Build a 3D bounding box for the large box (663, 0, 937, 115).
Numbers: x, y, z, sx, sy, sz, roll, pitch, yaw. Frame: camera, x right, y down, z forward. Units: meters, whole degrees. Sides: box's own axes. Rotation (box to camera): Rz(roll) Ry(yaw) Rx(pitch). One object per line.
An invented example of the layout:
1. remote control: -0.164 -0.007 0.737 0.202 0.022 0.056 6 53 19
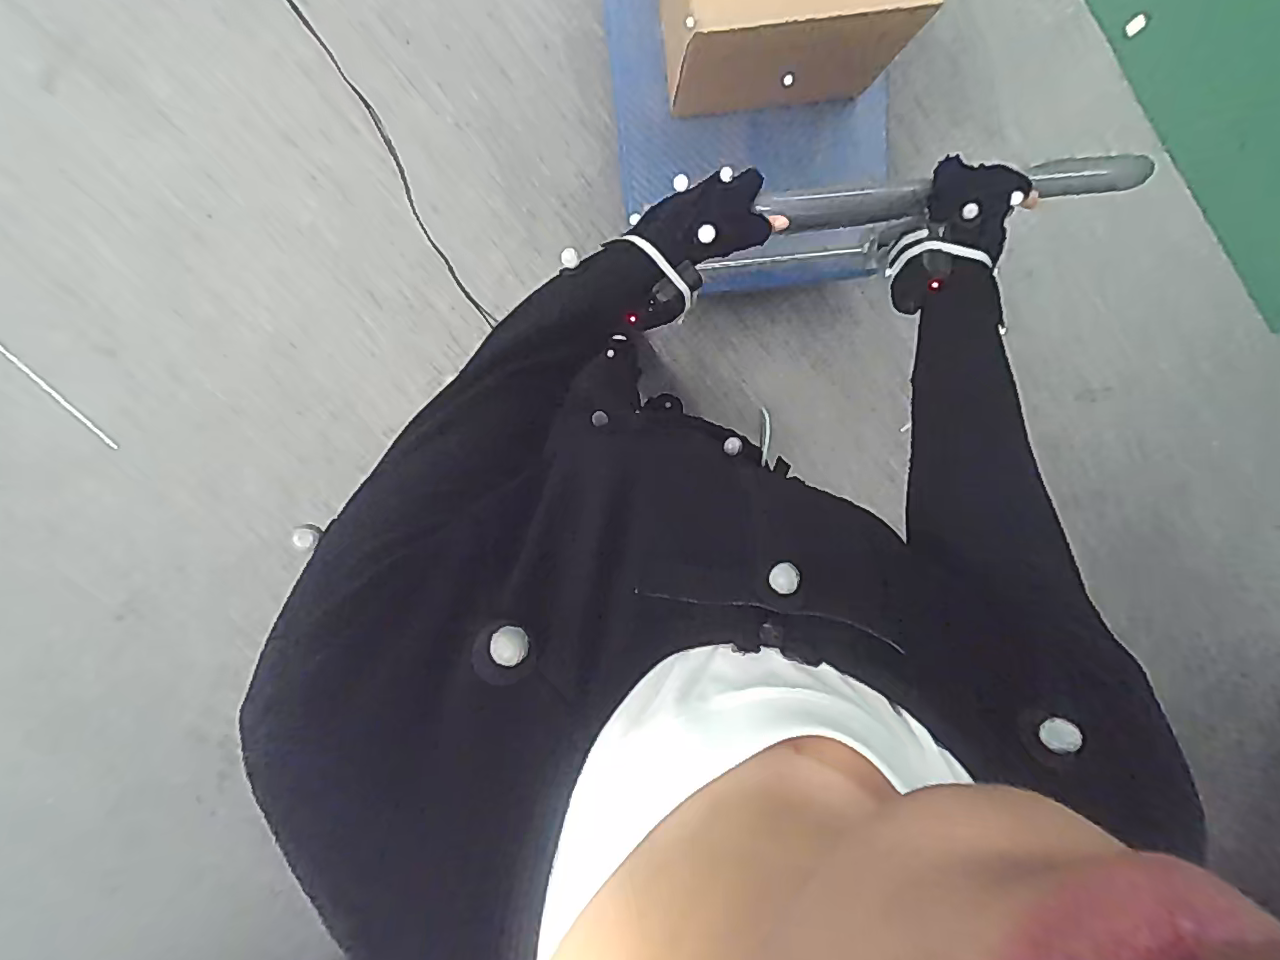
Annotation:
1. large box: 0.255 -0.910 0.969 0.408 0.320 0.320 -8 102 0
